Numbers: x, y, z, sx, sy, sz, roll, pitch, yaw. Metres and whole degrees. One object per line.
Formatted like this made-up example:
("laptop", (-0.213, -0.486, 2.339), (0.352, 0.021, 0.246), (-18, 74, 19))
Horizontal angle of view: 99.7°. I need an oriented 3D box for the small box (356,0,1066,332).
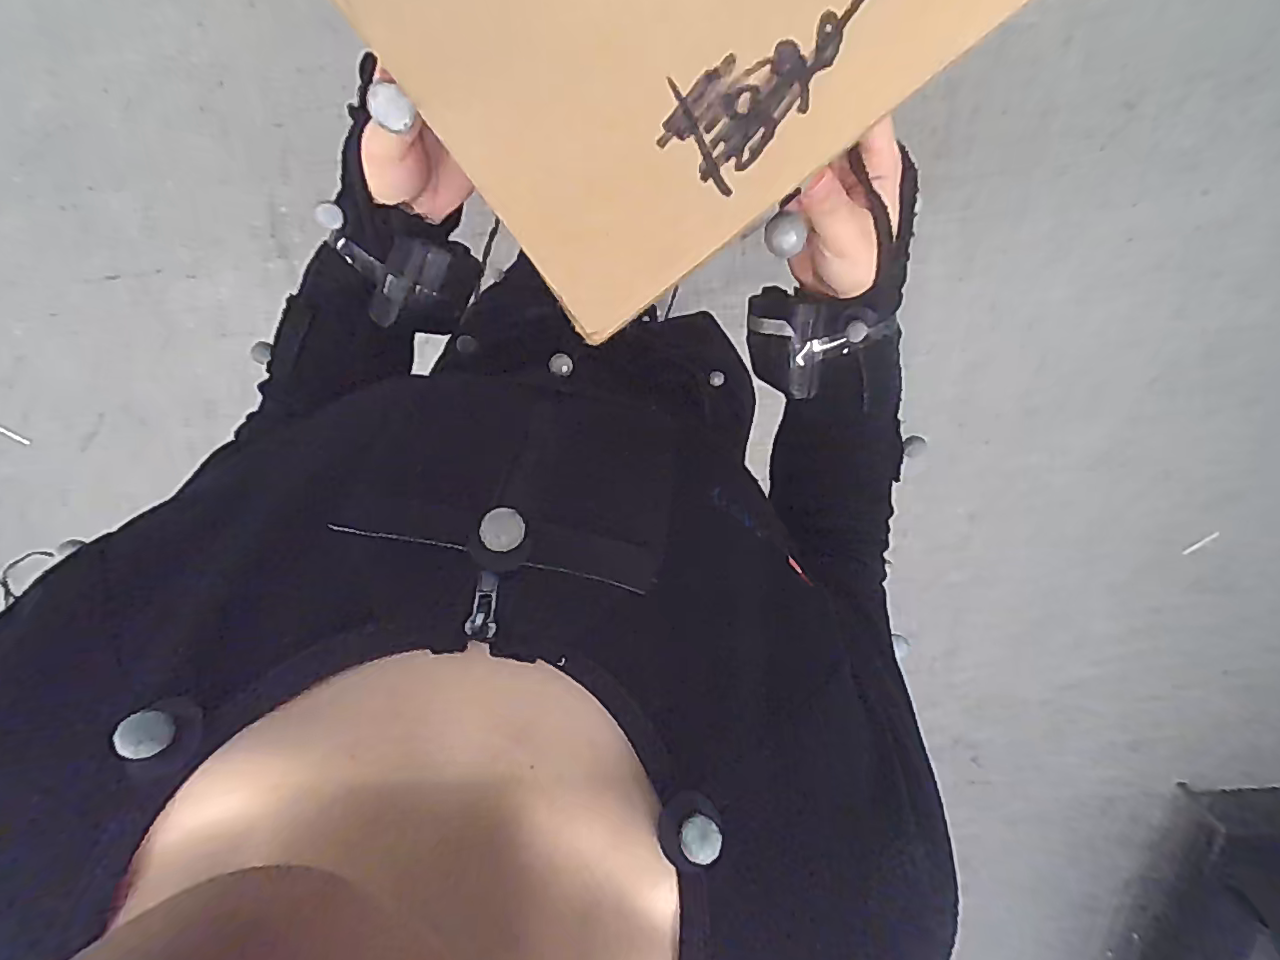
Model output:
("small box", (0.002, -0.171, 0.204), (0.168, 0.176, 0.179), (-37, 104, 6))
